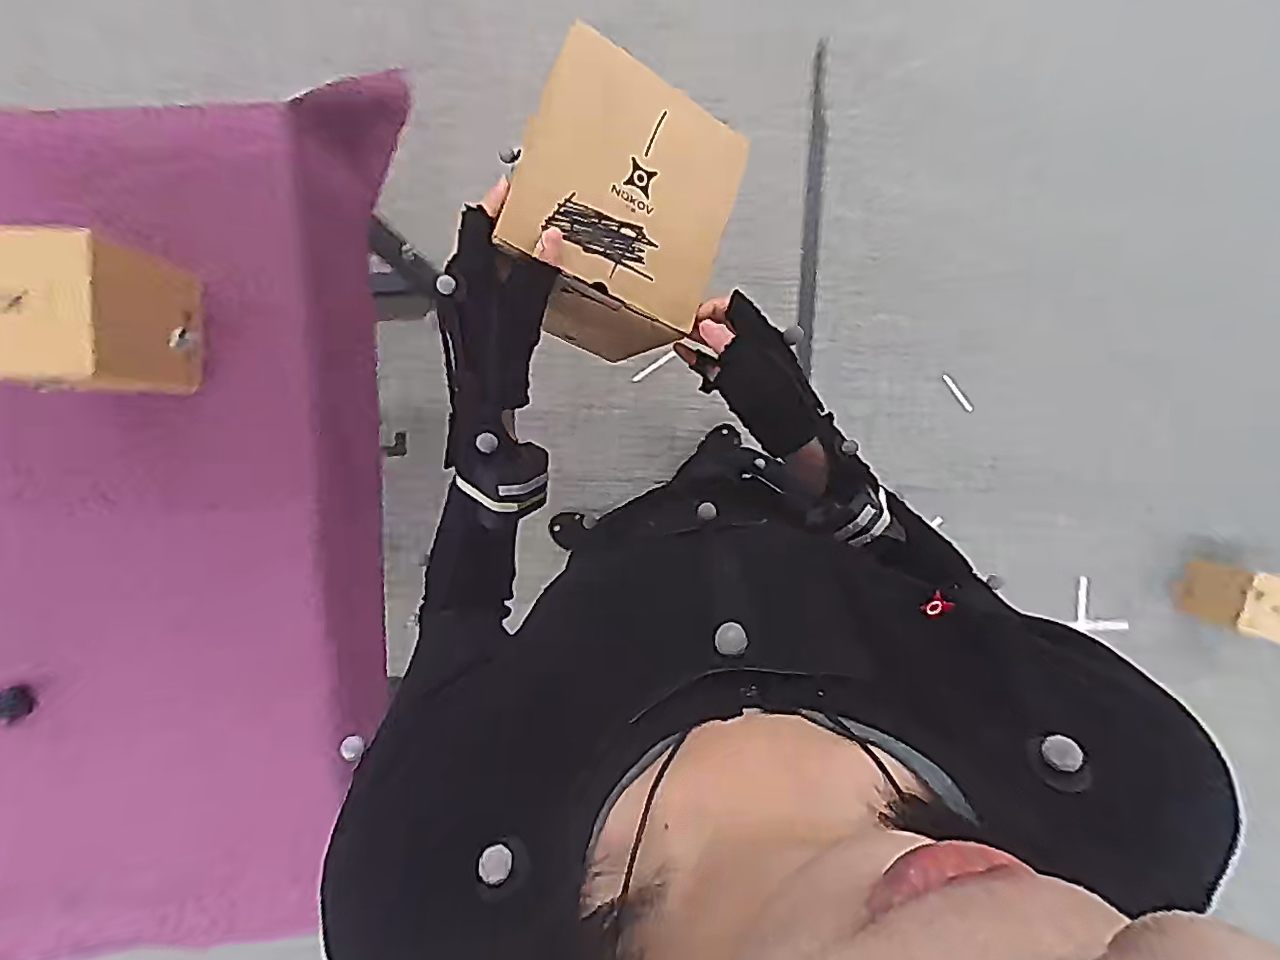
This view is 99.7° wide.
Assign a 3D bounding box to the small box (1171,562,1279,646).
[{"bbox_3d":[1.651,0.337,1.493,0.179,0.176,0.168,17,92,-2],"label":"small box"}]

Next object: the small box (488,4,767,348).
[{"bbox_3d":[-0.024,-0.236,0.481,0.168,0.176,0.179,22,84,-24],"label":"small box"}]

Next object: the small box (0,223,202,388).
[{"bbox_3d":[-0.705,-0.207,0.682,0.179,0.176,0.168,1,94,-2],"label":"small box"}]
